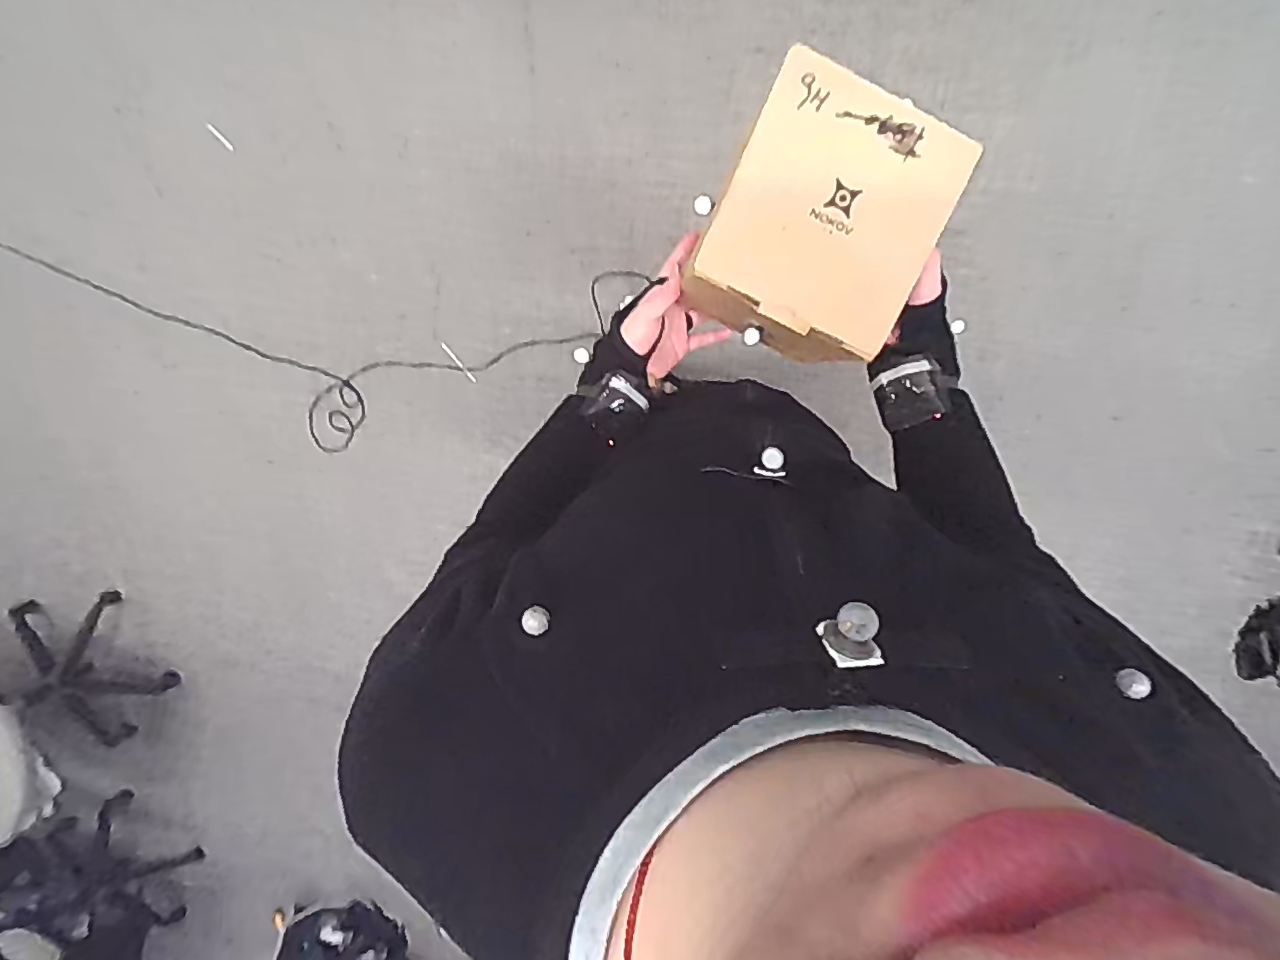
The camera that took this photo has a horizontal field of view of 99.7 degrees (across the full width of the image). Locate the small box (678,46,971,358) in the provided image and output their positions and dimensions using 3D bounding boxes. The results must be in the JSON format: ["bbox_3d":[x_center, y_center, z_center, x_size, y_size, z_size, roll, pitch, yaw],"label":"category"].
[{"bbox_3d":[0.143,-0.224,0.495,0.168,0.176,0.179,23,100,-7],"label":"small box"}]
